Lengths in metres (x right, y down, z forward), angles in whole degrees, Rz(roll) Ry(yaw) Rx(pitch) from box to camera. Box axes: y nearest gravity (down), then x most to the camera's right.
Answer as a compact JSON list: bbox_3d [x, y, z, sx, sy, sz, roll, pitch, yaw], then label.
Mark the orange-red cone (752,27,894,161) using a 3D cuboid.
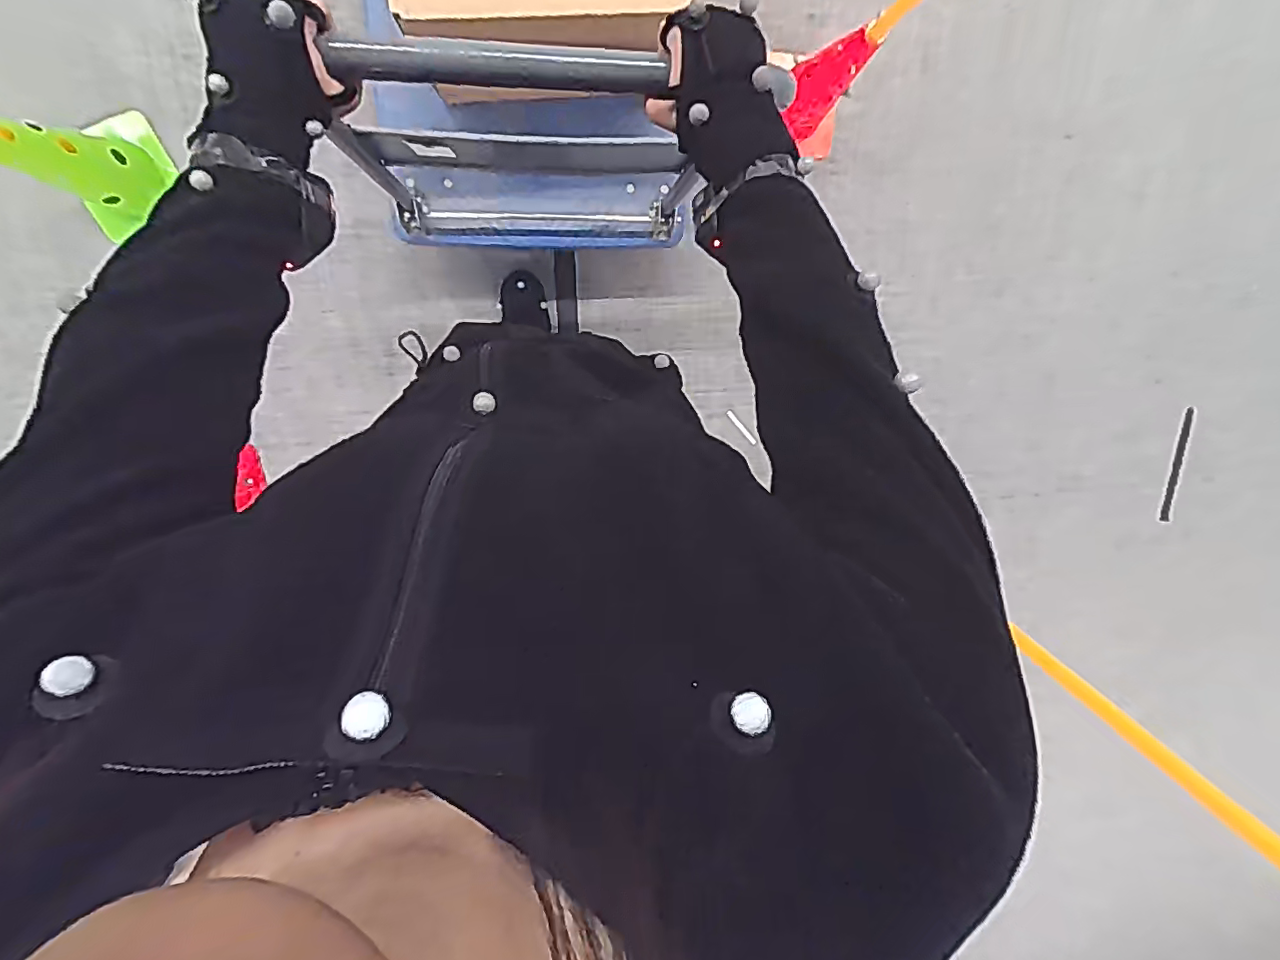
[{"bbox_3d":[0.385,-0.792,1.067,0.199,0.360,0.198,2,108,-10],"label":"orange-red cone"}]
